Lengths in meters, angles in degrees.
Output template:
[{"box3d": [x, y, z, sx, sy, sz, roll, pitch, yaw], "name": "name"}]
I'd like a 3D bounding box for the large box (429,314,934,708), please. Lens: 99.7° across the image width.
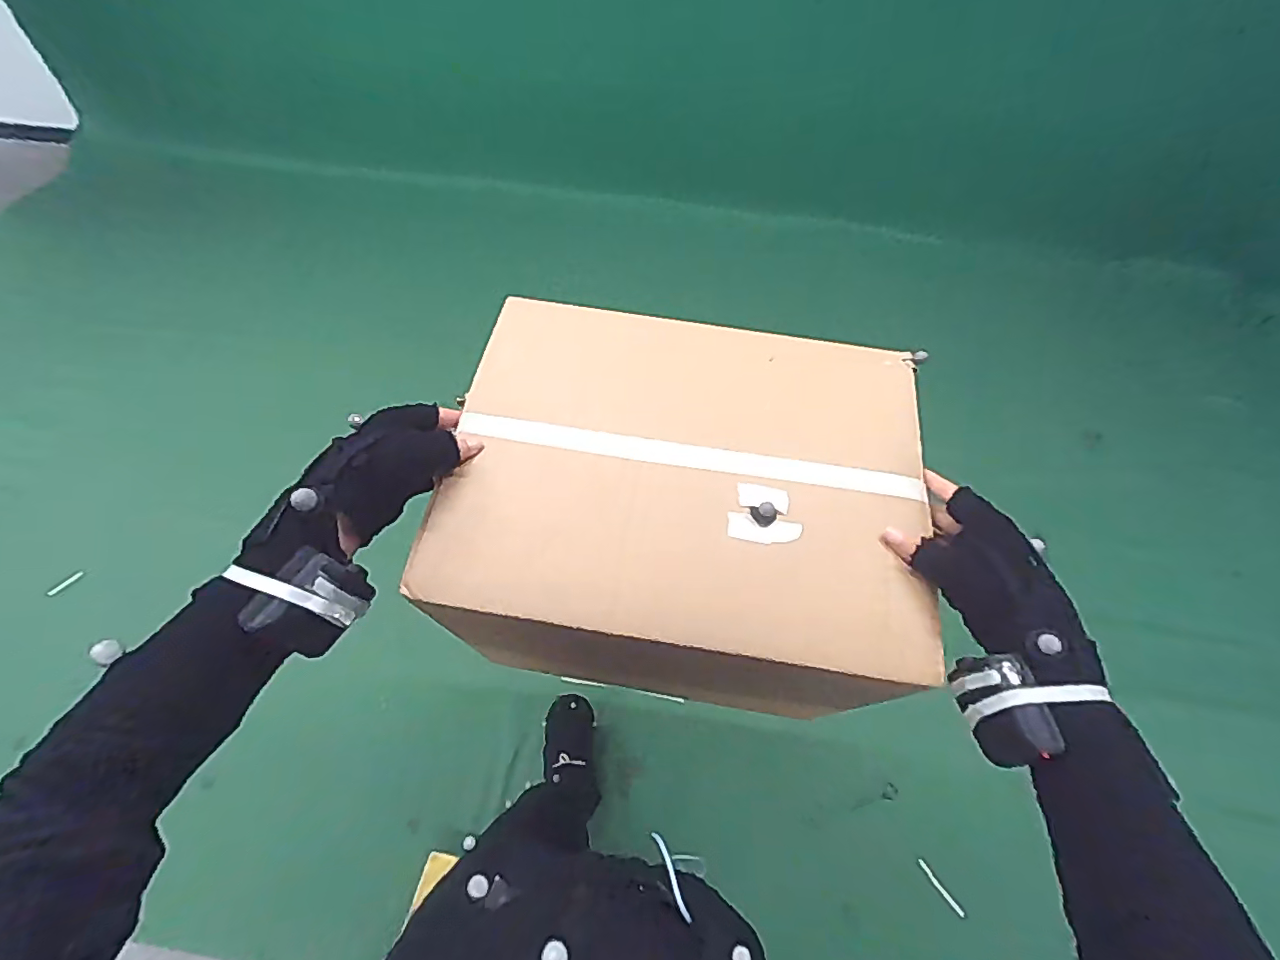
[{"box3d": [0.042, 0.055, 0.616, 0.408, 0.320, 0.320, 9, 63, 2], "name": "large box"}]
